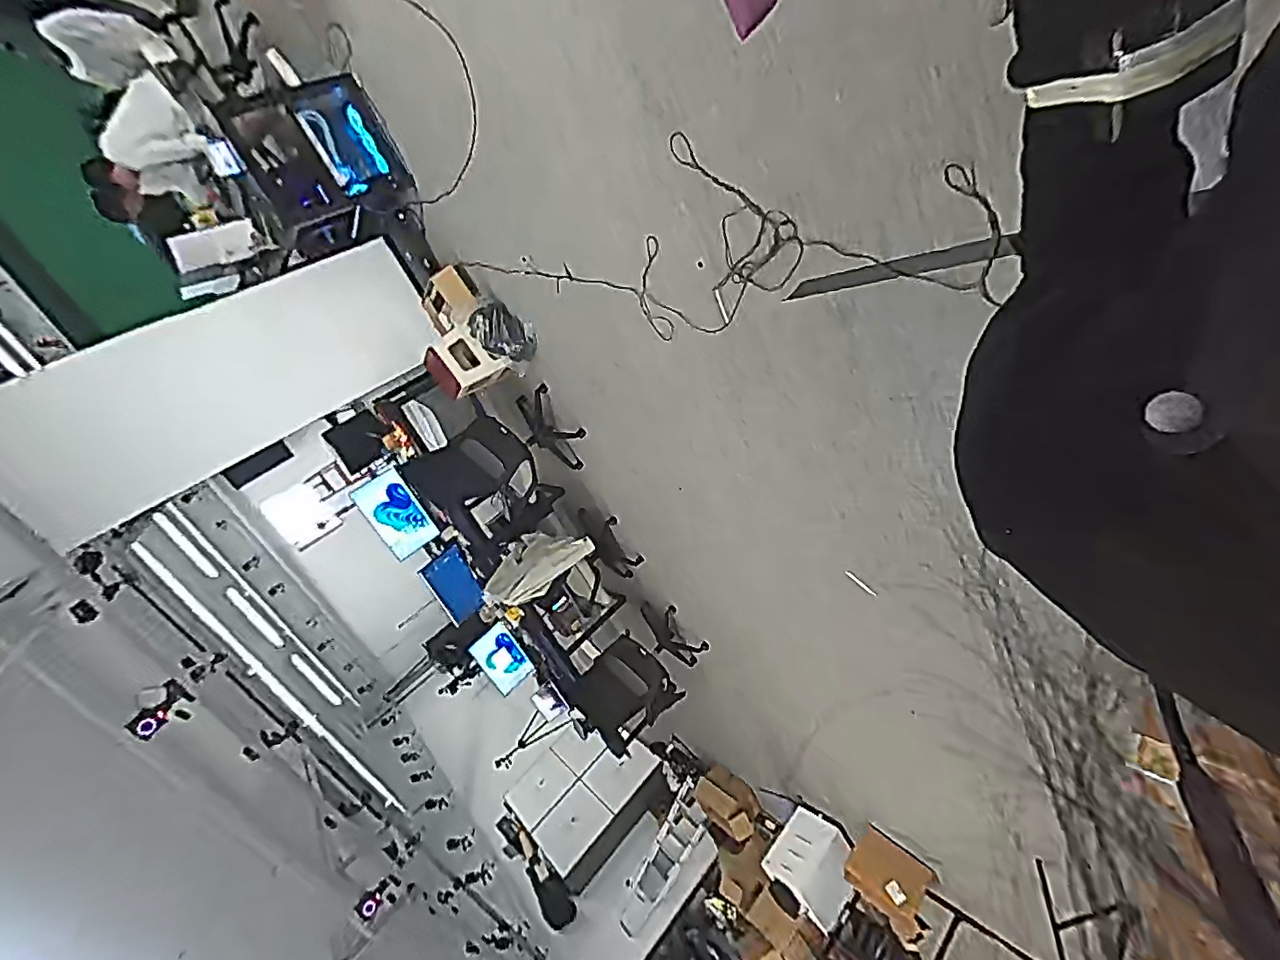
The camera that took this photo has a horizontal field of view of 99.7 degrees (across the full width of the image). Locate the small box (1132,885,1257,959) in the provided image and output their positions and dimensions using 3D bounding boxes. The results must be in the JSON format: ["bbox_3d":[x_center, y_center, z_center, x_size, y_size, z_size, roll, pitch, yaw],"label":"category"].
[{"bbox_3d":[1.209,1.051,1.186,0.168,0.176,0.179,14,137,48],"label":"small box"}]

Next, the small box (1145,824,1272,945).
[{"bbox_3d":[1.315,0.945,1.256,0.179,0.176,0.168,11,135,50],"label":"small box"}]
